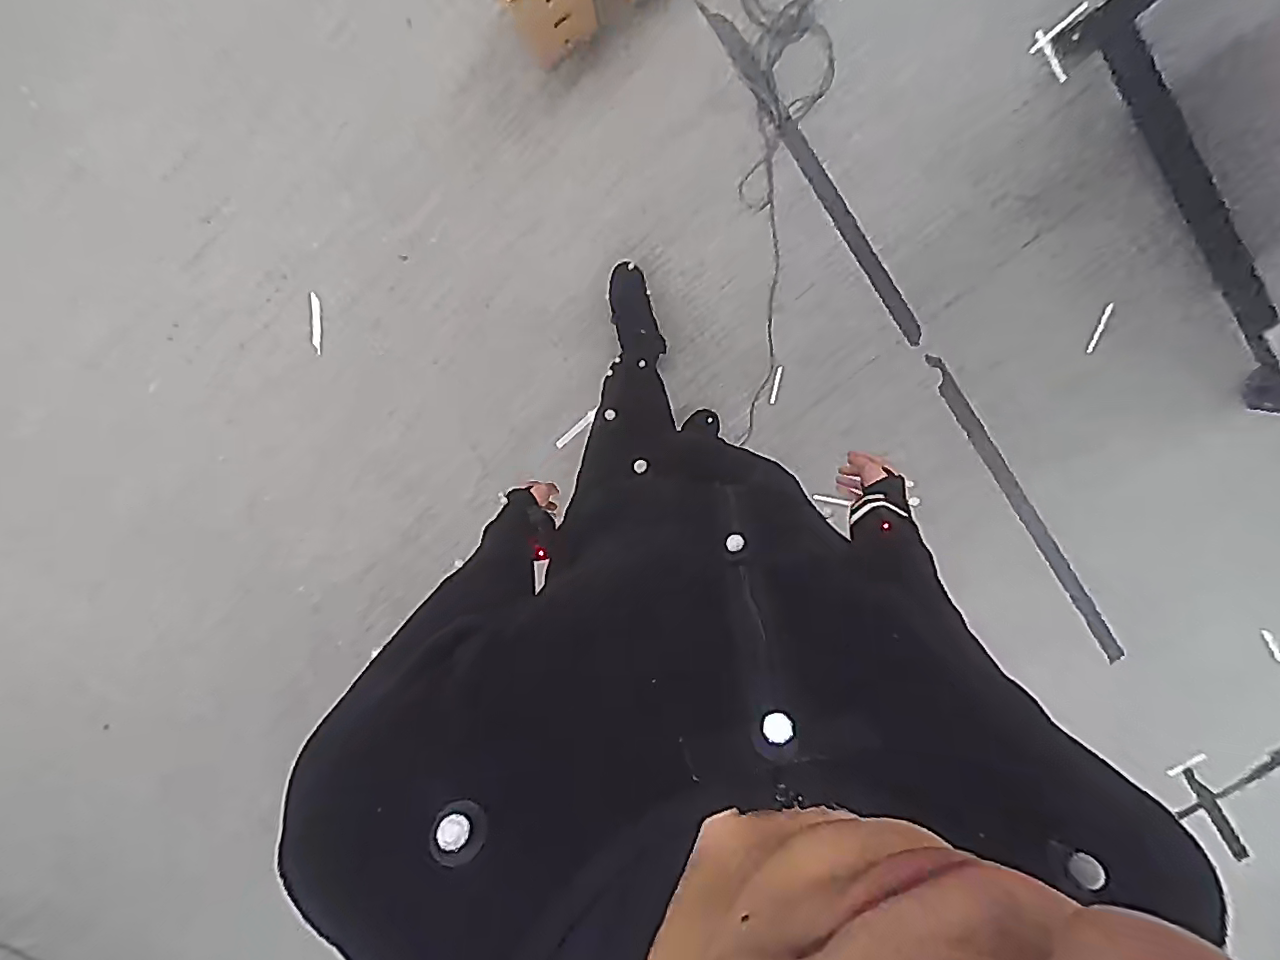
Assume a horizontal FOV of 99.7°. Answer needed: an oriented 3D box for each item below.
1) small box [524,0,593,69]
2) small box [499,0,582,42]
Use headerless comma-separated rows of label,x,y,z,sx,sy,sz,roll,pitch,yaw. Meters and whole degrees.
small box,-0.225,-1.108,1.243,0.168,0.176,0.179,-32,103,9
small box,-0.223,-1.049,1.090,0.179,0.176,0.168,-28,103,8
